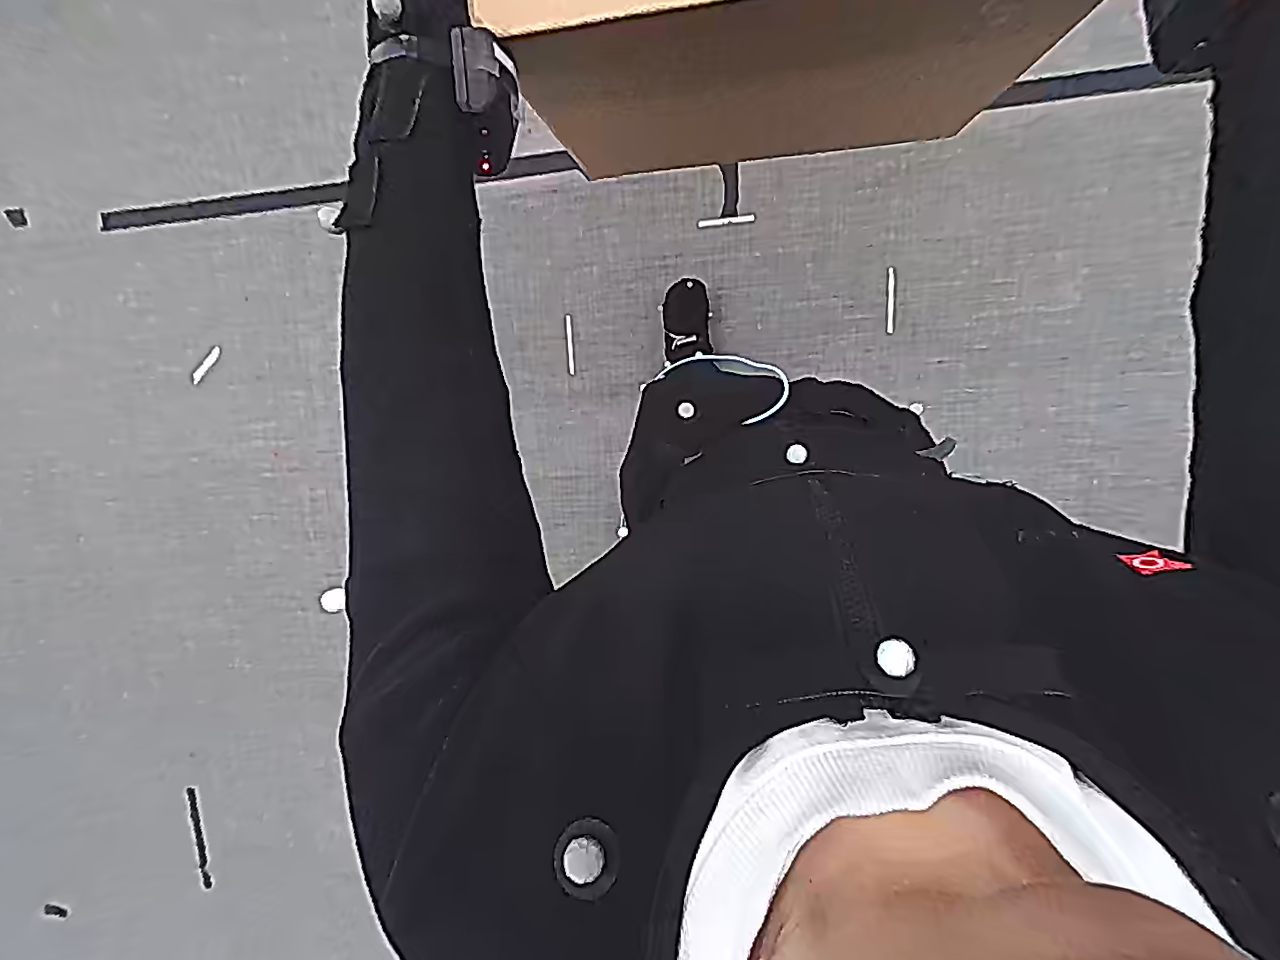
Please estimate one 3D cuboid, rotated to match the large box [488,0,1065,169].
[{"bbox_3d":[0.103,-0.487,0.432,0.408,0.320,0.320,-2,104,8],"label":"large box"}]
